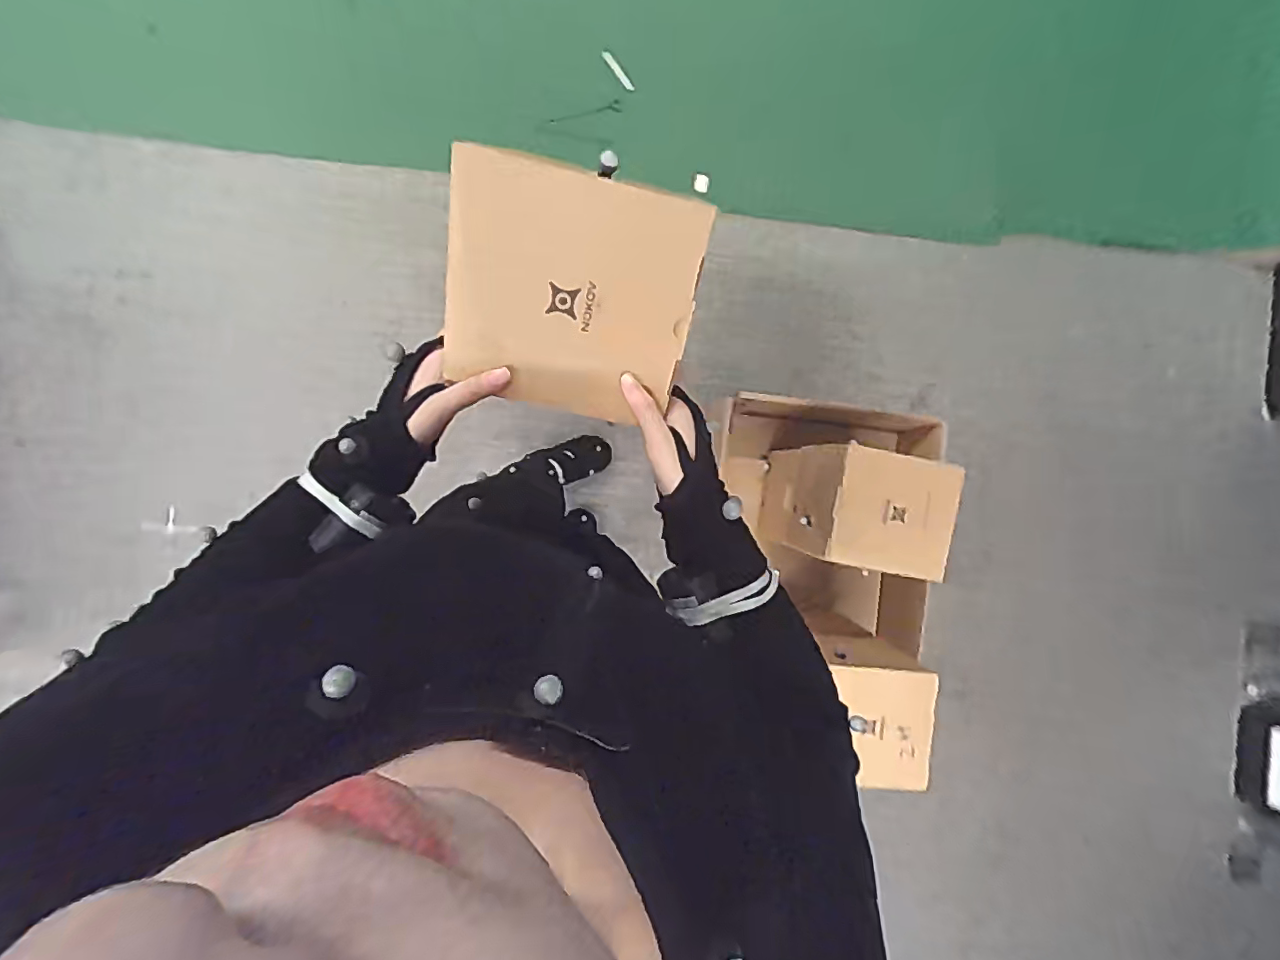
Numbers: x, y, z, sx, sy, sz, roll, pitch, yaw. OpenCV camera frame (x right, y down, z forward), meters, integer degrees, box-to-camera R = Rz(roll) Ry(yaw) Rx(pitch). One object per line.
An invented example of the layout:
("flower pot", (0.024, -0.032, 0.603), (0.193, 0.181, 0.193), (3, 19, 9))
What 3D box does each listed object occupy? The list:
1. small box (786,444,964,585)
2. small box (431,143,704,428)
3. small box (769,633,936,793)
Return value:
("small box", (0.341, 0.047, 0.820), (0.179, 0.176, 0.168), (12, 91, -6))
("small box", (-0.058, -0.164, 0.455), (0.179, 0.176, 0.168), (11, 118, -5))
("small box", (0.309, 0.341, 0.822), (0.179, 0.176, 0.168), (7, 91, -5))
